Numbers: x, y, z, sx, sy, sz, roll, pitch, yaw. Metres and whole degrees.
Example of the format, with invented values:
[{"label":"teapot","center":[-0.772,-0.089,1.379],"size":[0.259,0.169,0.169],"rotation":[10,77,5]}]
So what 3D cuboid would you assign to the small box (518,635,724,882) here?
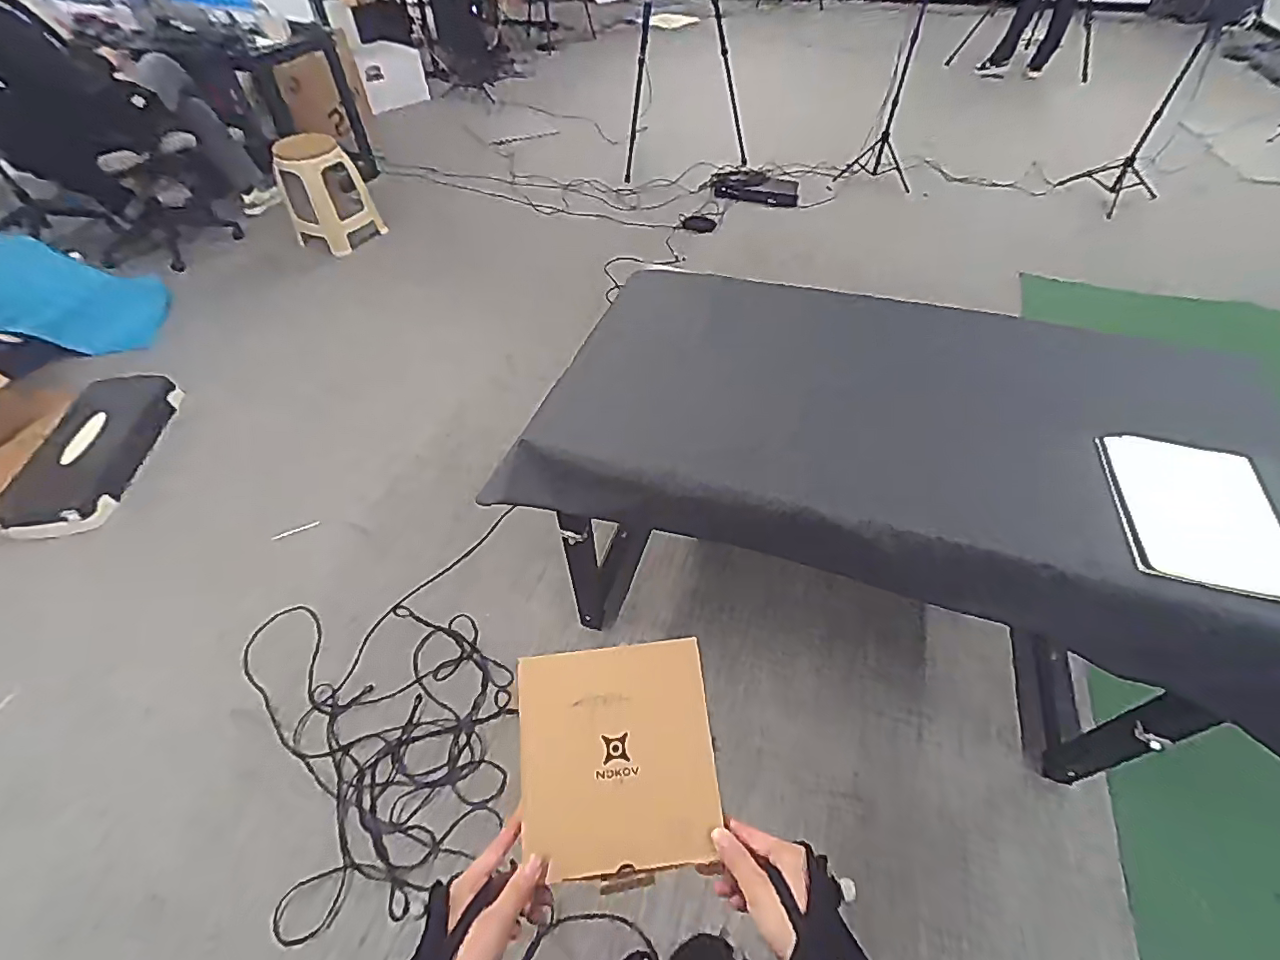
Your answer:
[{"label":"small box","center":[-0.020,0.258,0.530],"size":[0.168,0.176,0.179],"rotation":[-6,66,-3]}]
